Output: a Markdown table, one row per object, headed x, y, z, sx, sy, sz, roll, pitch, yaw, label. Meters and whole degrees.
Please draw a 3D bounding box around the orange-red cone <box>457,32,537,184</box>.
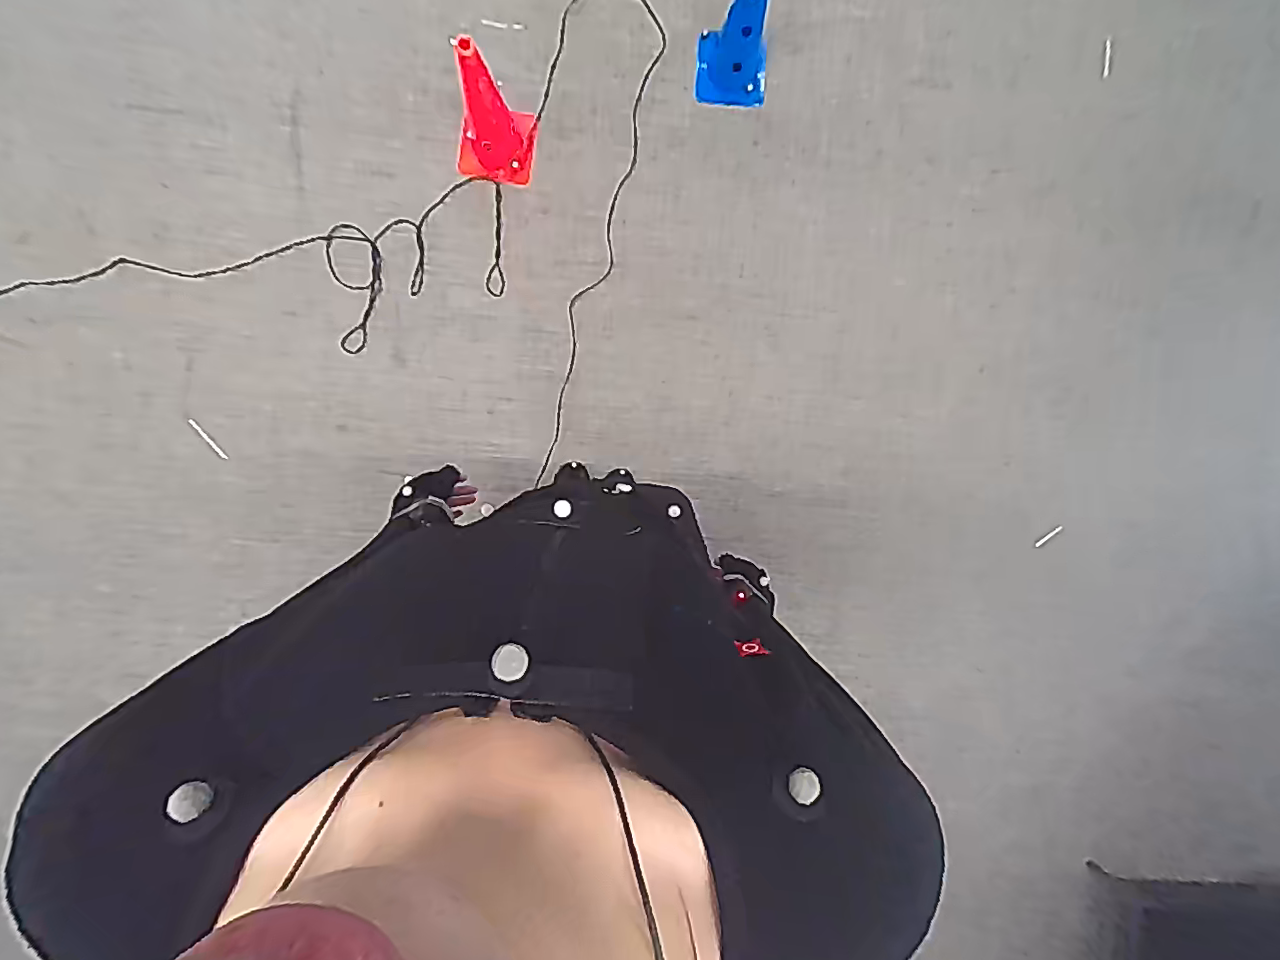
| x | y | z | sx | sy | sz | roll | pitch | yaw | label |
| --- | --- | --- | --- | --- | --- | --- | --- | --- | --- |
| -0.380 | -0.927 | 1.312 | 0.198 | 0.360 | 0.199 | 9 | 89 | -4 | orange-red cone |
